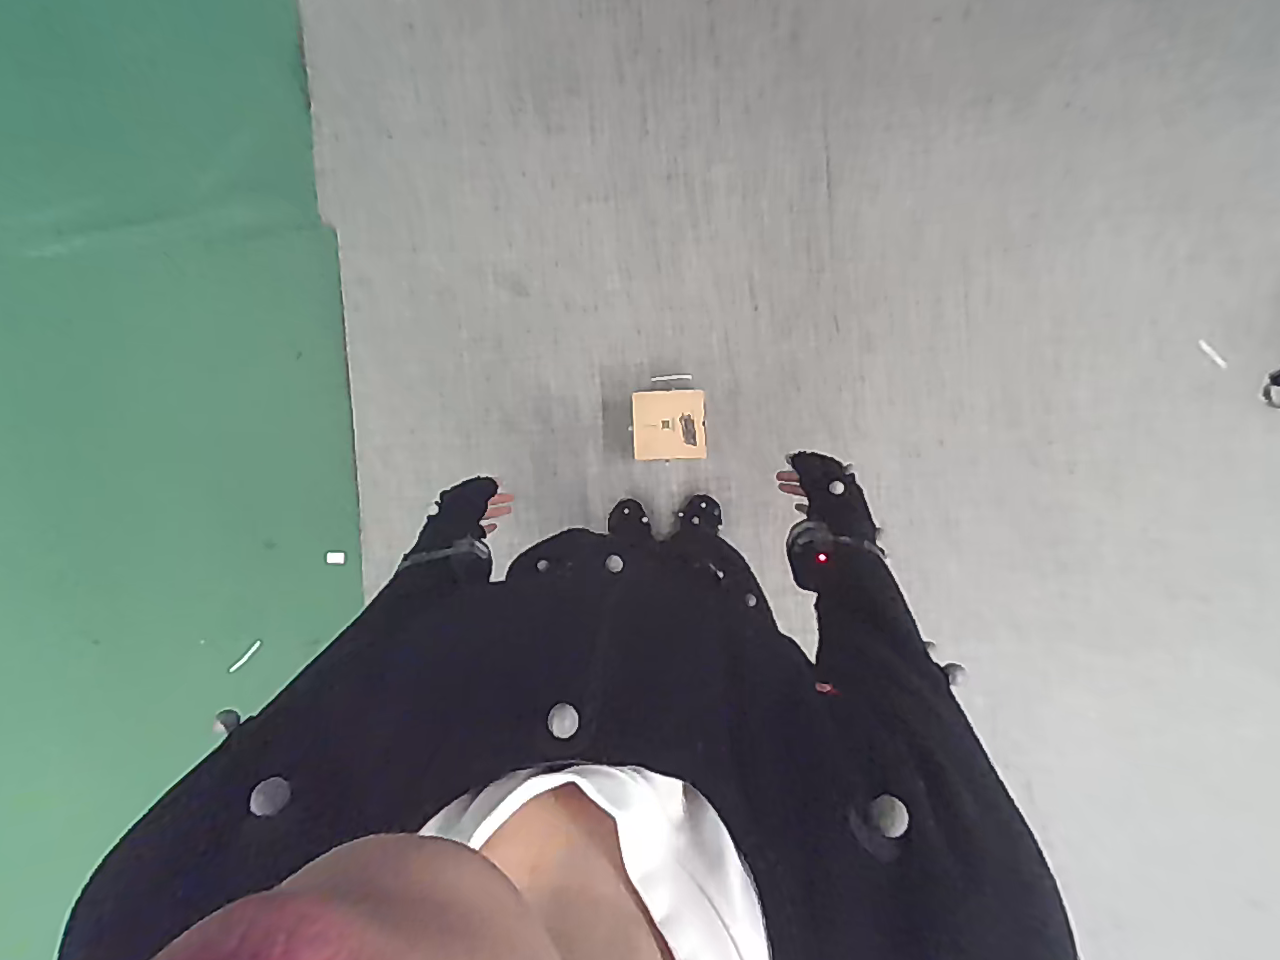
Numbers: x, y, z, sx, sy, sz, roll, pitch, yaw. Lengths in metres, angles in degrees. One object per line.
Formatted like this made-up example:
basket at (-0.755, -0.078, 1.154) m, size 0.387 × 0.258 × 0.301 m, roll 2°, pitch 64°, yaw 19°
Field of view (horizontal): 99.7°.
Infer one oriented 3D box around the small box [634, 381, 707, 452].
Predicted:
small box at (0.076, -0.158, 1.379) m, size 0.179 × 0.176 × 0.168 m, roll -2°, pitch 91°, yaw 3°
